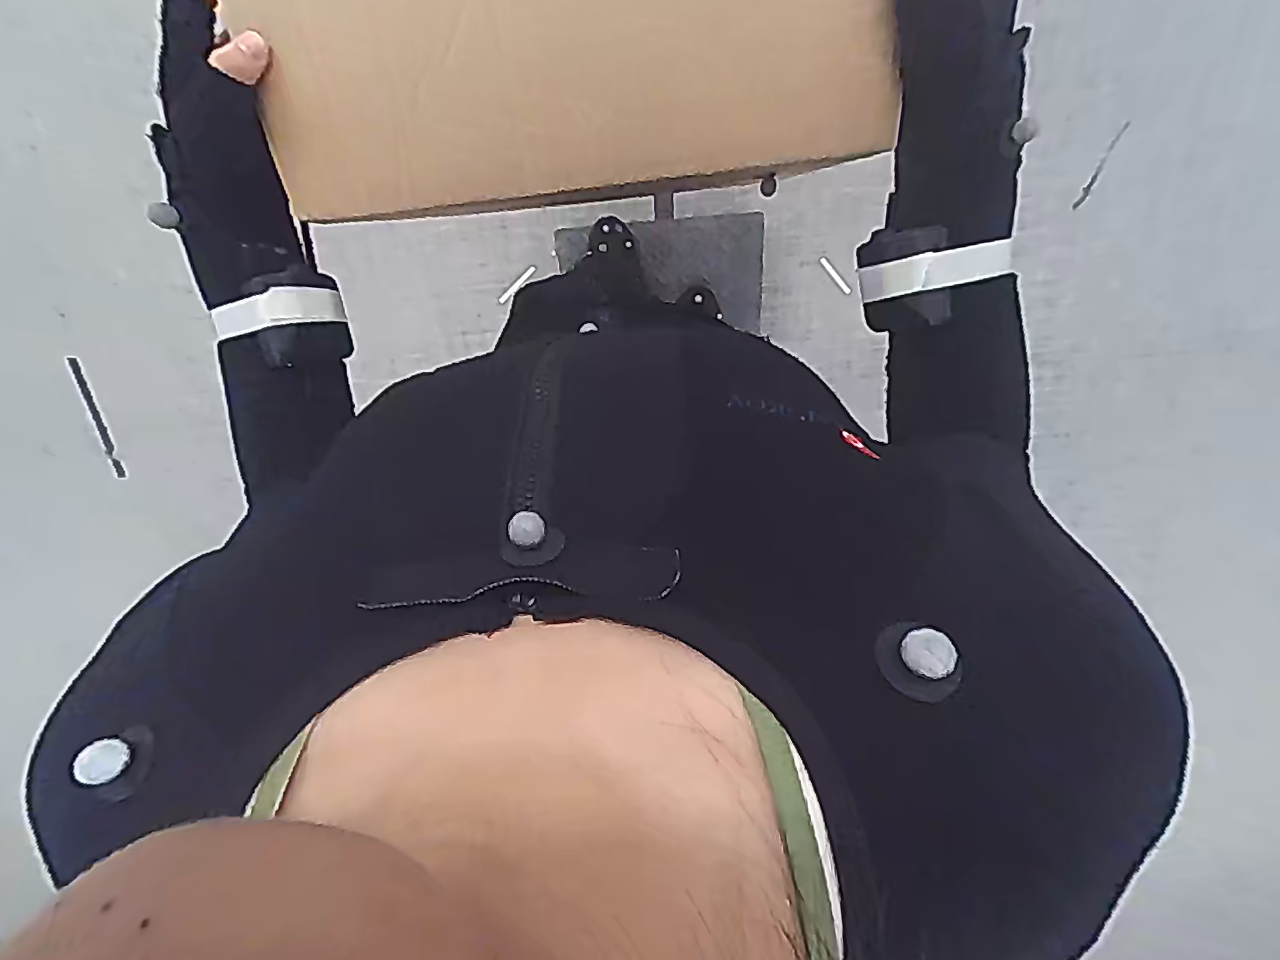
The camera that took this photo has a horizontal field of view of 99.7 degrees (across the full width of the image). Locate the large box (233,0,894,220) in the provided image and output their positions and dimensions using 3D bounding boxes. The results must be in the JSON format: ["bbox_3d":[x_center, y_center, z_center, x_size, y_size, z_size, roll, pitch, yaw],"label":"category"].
[{"bbox_3d":[-0.048,-0.406,0.433,0.408,0.320,0.320,-4,116,4],"label":"large box"}]
